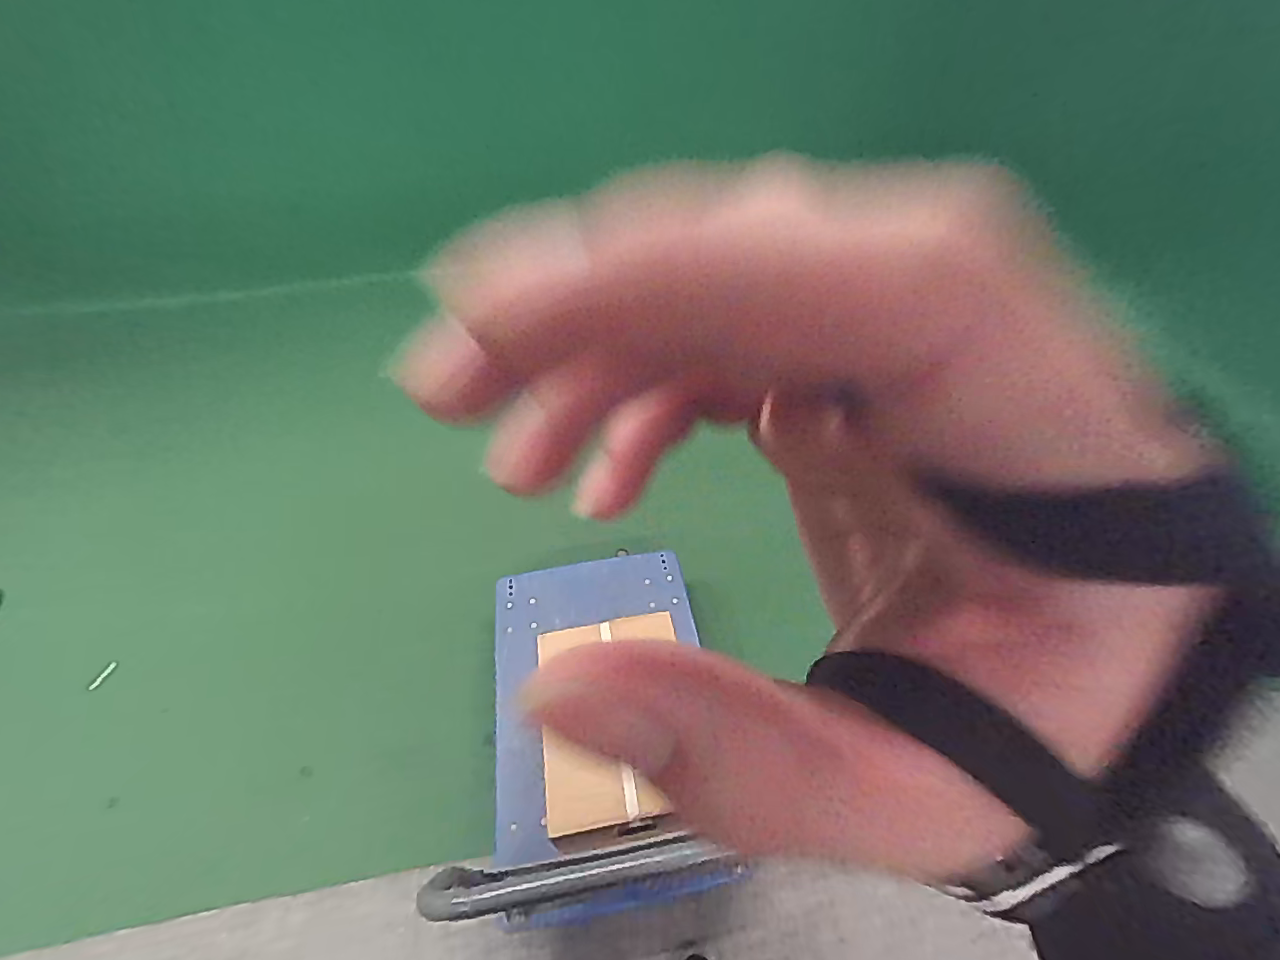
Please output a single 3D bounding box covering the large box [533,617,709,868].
[{"bbox_3d":[-0.054,0.589,1.230,0.320,0.320,0.408,-8,47,-7],"label":"large box"}]
